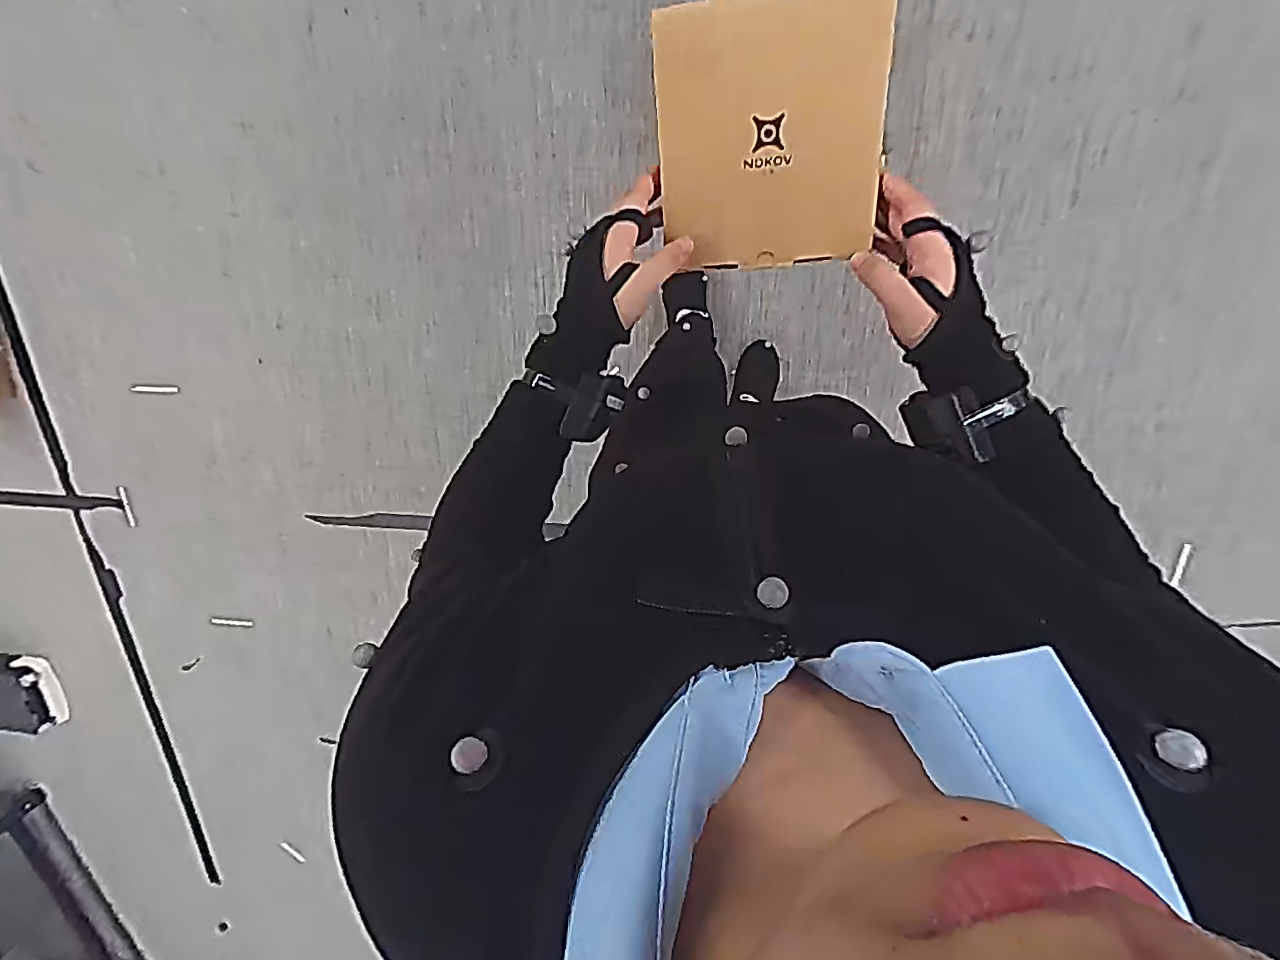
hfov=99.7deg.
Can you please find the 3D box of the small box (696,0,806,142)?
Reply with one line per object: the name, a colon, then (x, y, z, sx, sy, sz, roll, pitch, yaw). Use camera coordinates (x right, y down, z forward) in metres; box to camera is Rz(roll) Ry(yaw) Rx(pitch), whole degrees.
small box: (0.196, -0.752, 0.997, 0.168, 0.176, 0.179, 7, 110, 6)
